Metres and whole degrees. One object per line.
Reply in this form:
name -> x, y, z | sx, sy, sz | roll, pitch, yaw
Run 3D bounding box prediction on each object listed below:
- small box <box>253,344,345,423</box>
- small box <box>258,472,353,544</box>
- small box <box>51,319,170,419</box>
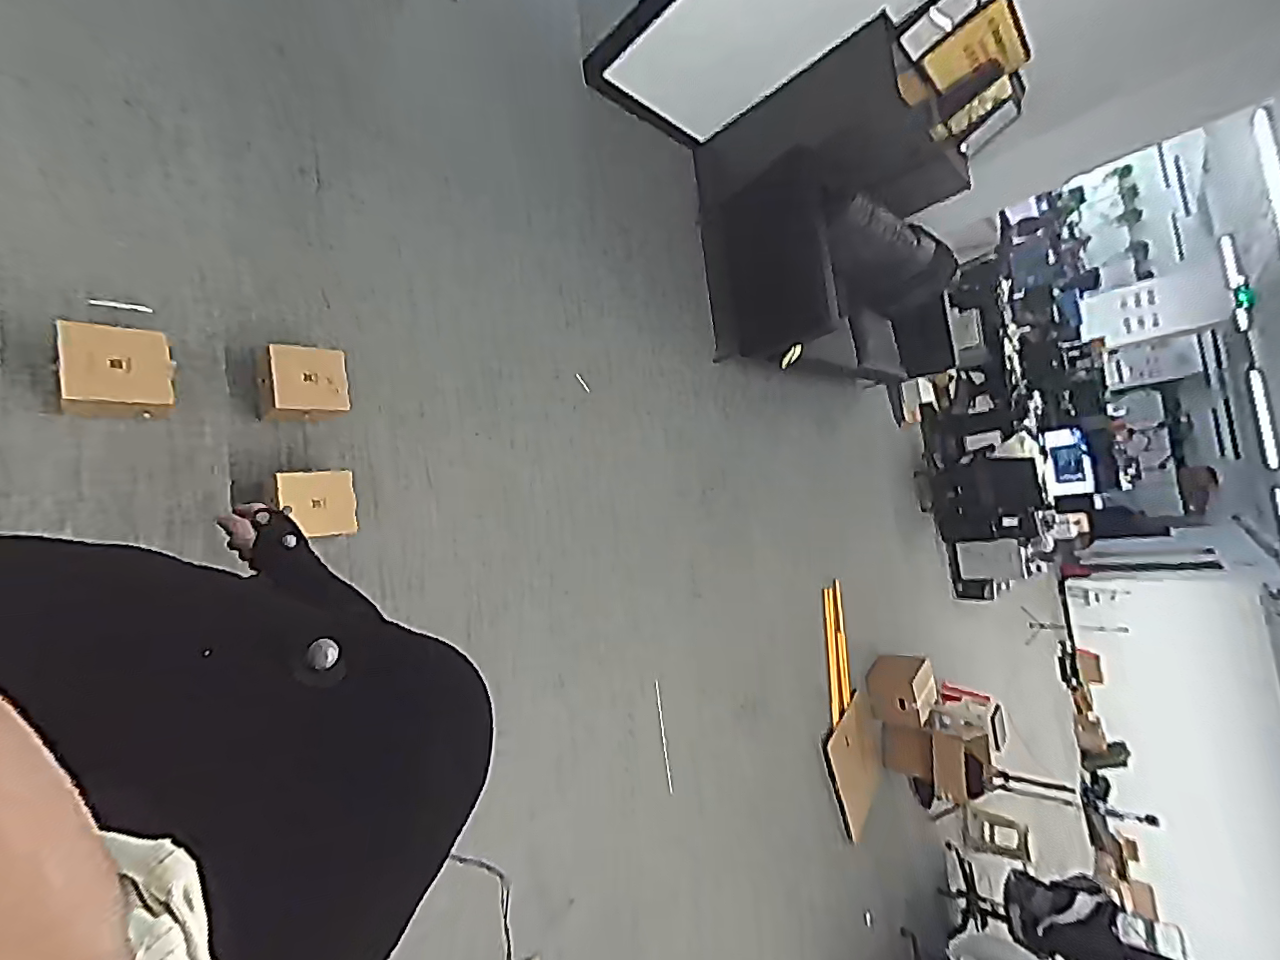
small box -> -0.916, -0.250, 1.446 | 0.179, 0.176, 0.168 | -3, 85, -47
small box -> -0.883, 0.073, 1.419 | 0.179, 0.176, 0.168 | -4, 84, -48
small box -> -1.162, -0.233, 1.187 | 0.179, 0.176, 0.168 | -2, 83, -46
